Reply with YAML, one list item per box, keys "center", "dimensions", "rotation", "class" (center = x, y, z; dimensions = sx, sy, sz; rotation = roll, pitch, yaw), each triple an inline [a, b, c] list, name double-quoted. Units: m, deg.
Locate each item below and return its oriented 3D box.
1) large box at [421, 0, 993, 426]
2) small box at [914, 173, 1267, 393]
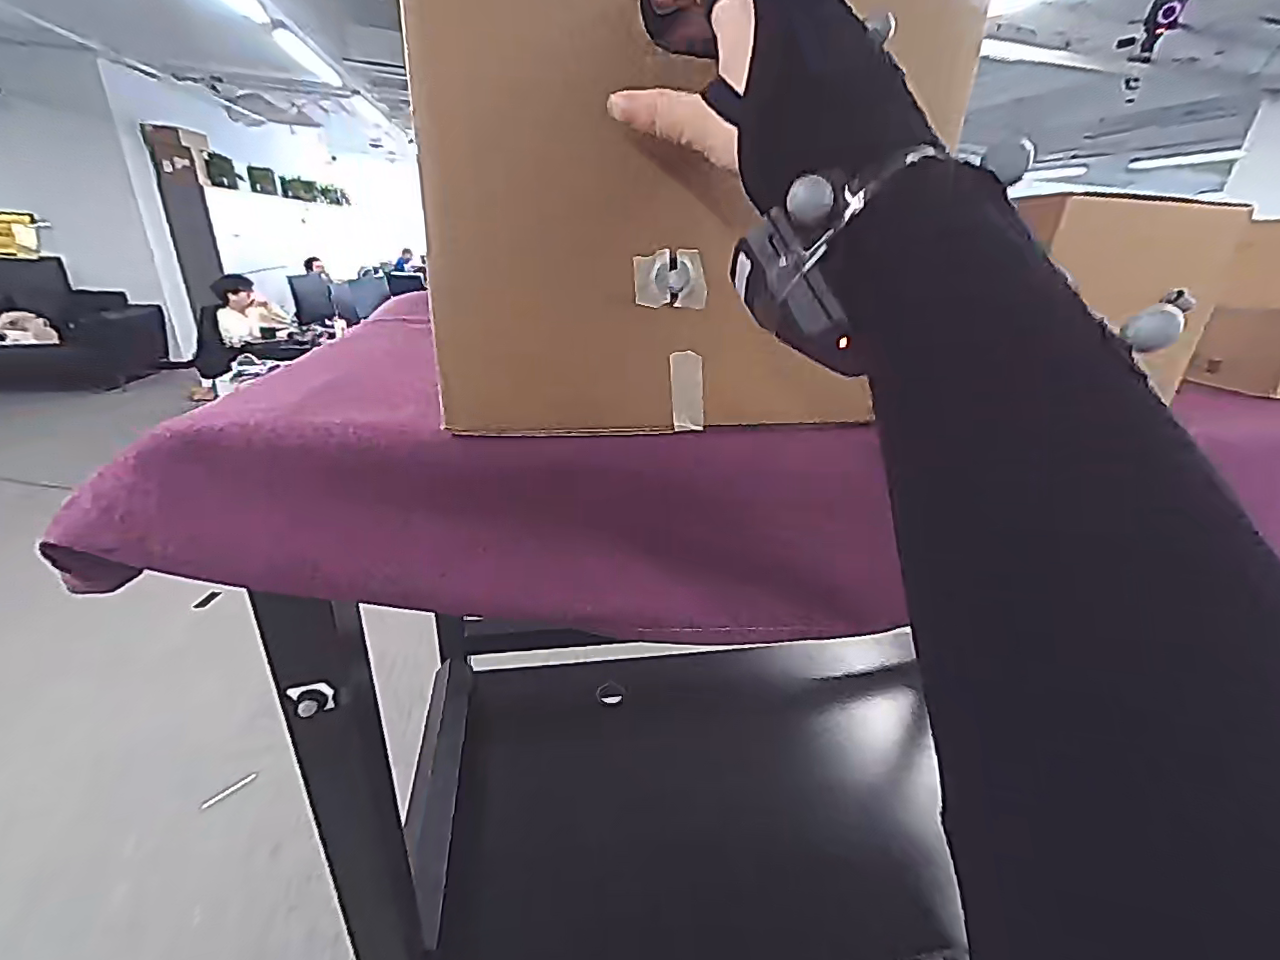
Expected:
- center: [0.001, -0.253, 0.466]
  dimensions: [0.320, 0.320, 0.408]
  rotation: [-2, 23, -13]
  class: "large box"
- center: [0.391, -0.181, 0.512]
  dimensions: [0.179, 0.176, 0.168]
  rotation: [-1, 23, -8]
  class: "small box"
